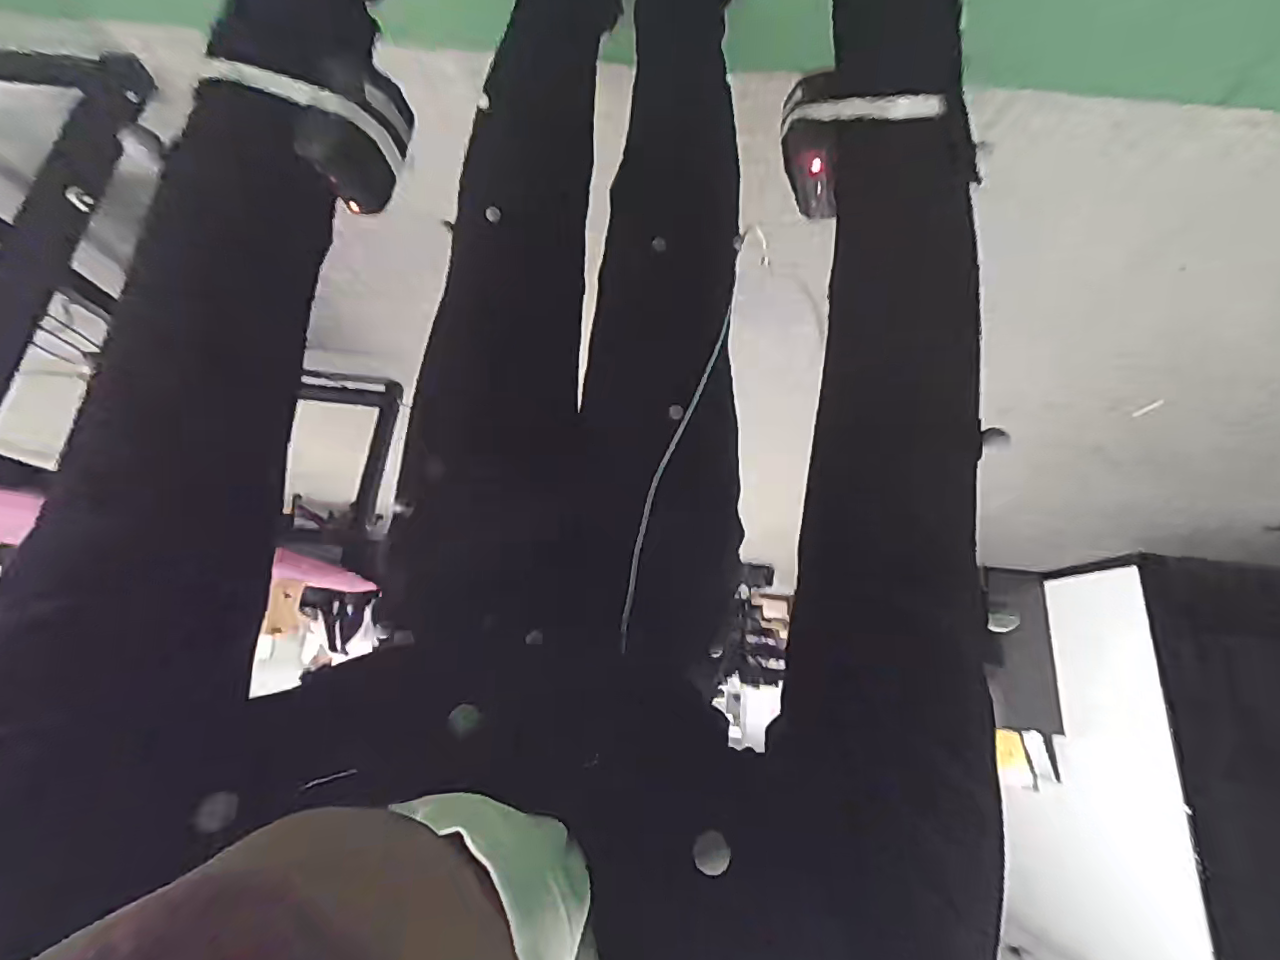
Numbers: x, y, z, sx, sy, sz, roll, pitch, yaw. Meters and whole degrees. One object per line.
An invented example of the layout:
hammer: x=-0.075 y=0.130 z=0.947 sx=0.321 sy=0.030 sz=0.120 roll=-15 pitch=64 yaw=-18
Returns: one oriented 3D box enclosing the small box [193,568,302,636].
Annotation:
small box: x=-1.131 y=0.355 z=1.574 sx=0.179 sy=0.176 sz=0.168 roll=6 pitch=162 yaw=-1
